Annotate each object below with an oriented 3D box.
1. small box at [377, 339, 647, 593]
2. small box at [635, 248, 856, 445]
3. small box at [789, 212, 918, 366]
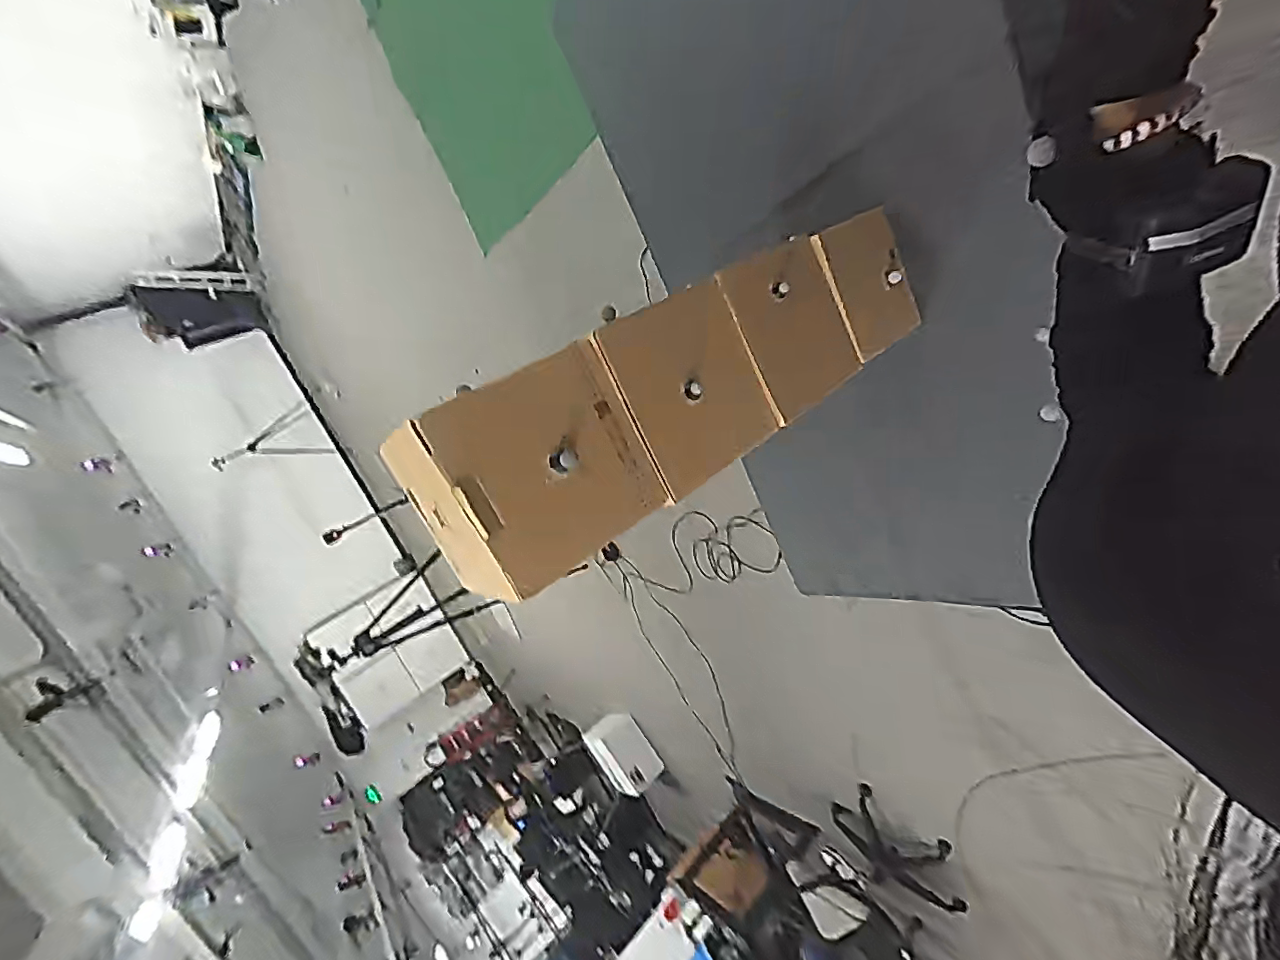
[{"bbox_3d":[-0.115,-0.013,0.513,0.179,0.176,0.168,-10,109,56],"label":"small box"},{"bbox_3d":[0.130,-0.165,0.668,0.168,0.176,0.179,-11,108,57],"label":"small box"},{"bbox_3d":[0.247,-0.243,0.752,0.179,0.176,0.168,-8,111,55],"label":"small box"}]
